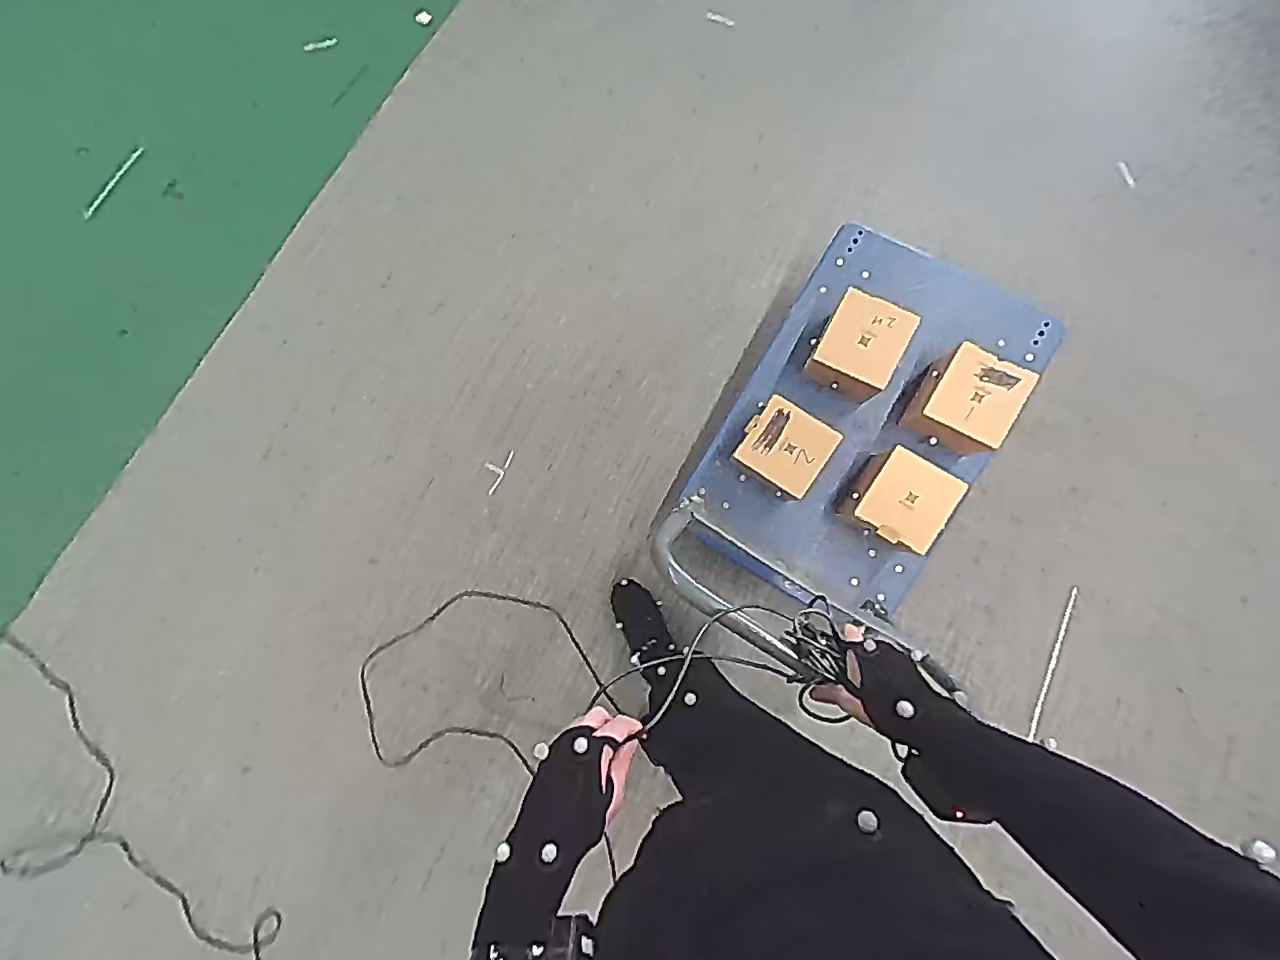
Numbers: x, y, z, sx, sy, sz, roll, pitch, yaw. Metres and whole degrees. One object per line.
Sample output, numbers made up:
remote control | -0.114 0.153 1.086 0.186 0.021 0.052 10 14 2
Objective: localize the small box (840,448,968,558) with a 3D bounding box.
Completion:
small box | 0.570 0.050 1.197 0.168 0.176 0.179 34 93 8

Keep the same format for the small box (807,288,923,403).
small box | 0.495 -0.294 1.224 0.168 0.176 0.179 29 91 8

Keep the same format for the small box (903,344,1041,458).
small box | 0.713 -0.164 1.186 0.168 0.176 0.179 31 92 9
